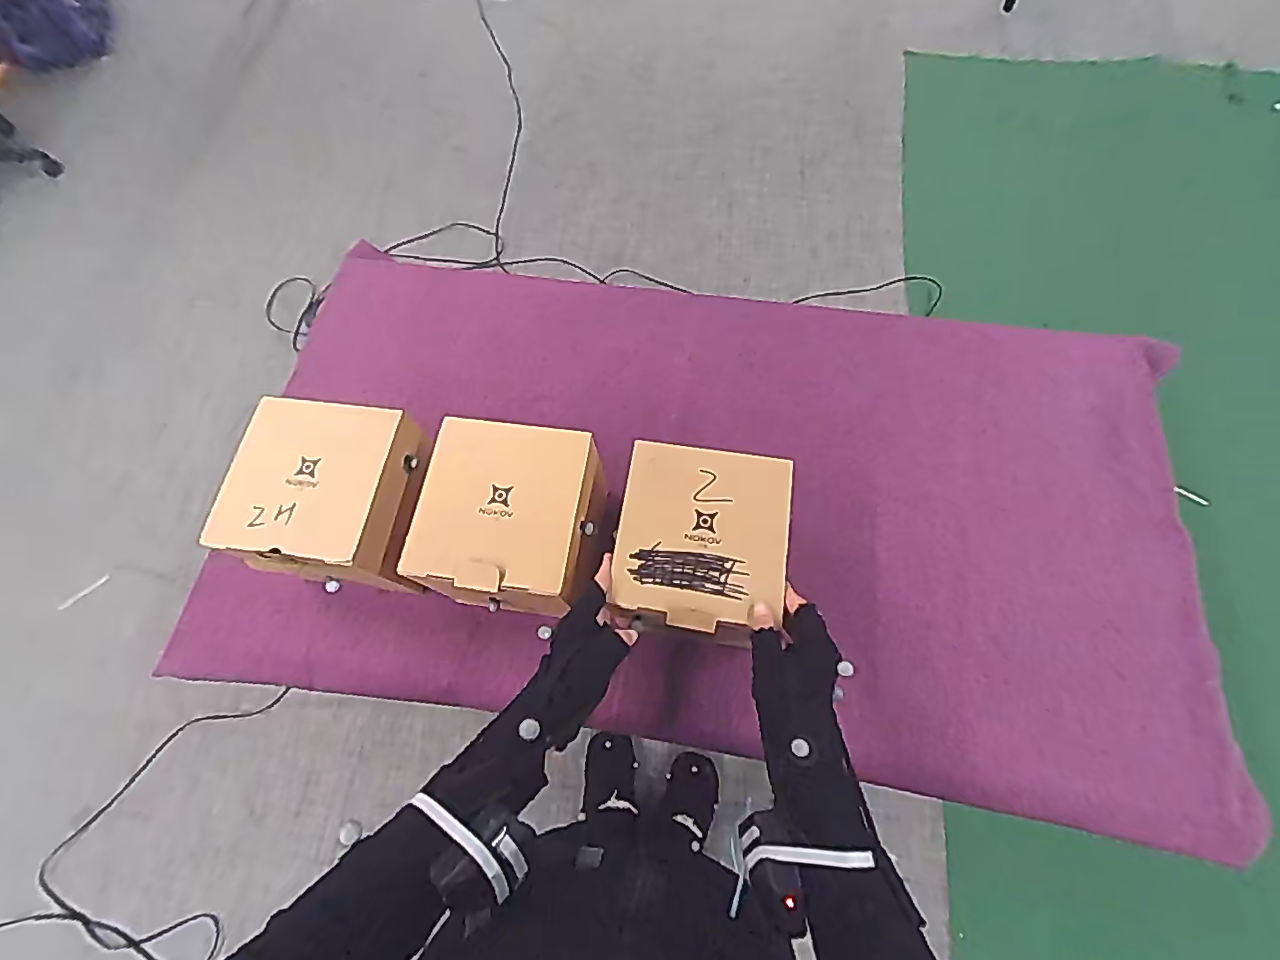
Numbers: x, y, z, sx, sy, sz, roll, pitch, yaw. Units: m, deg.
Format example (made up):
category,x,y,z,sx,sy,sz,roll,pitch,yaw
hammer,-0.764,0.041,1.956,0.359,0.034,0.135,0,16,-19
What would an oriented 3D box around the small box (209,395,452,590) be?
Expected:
category,x,y,z,sx,sy,sz,roll,pitch,yaw
small box,-0.345,0.022,0.647,0.168,0.176,0.179,6,69,5
